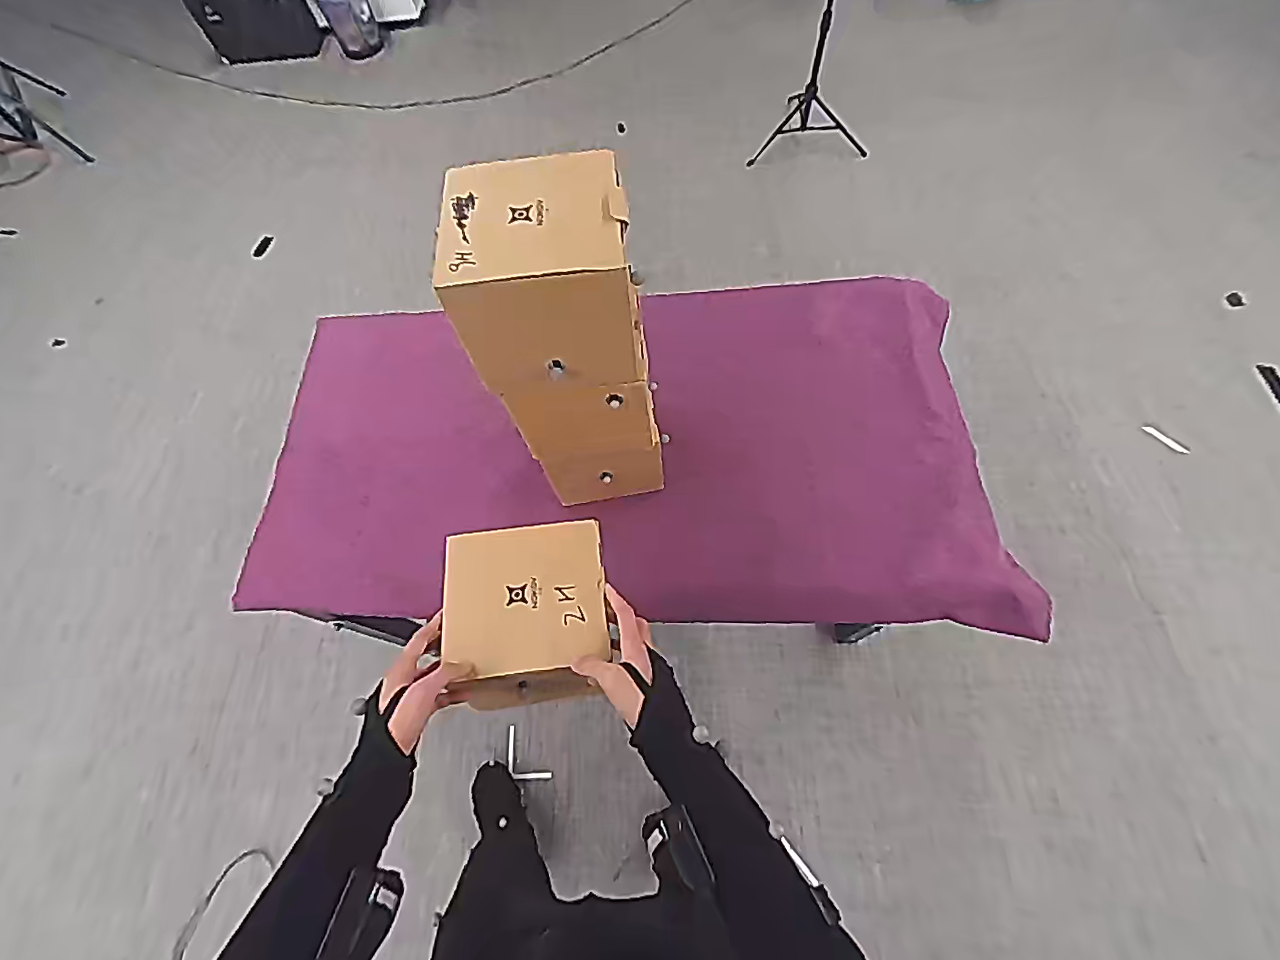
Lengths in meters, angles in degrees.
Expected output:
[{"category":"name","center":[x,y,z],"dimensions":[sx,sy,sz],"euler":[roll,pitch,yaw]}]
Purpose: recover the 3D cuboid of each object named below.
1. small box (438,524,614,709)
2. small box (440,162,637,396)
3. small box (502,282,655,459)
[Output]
[{"category":"small box","center":[-0.126,0.170,0.654],"dimensions":[0.179,0.176,0.168],"euler":[-5,59,-5]},{"category":"small box","center":[-0.093,-0.208,0.585],"dimensions":[0.179,0.176,0.168],"euler":[-4,63,1]},{"category":"small box","center":[-0.075,-0.139,0.734],"dimensions":[0.179,0.176,0.168],"euler":[-5,64,1]}]
